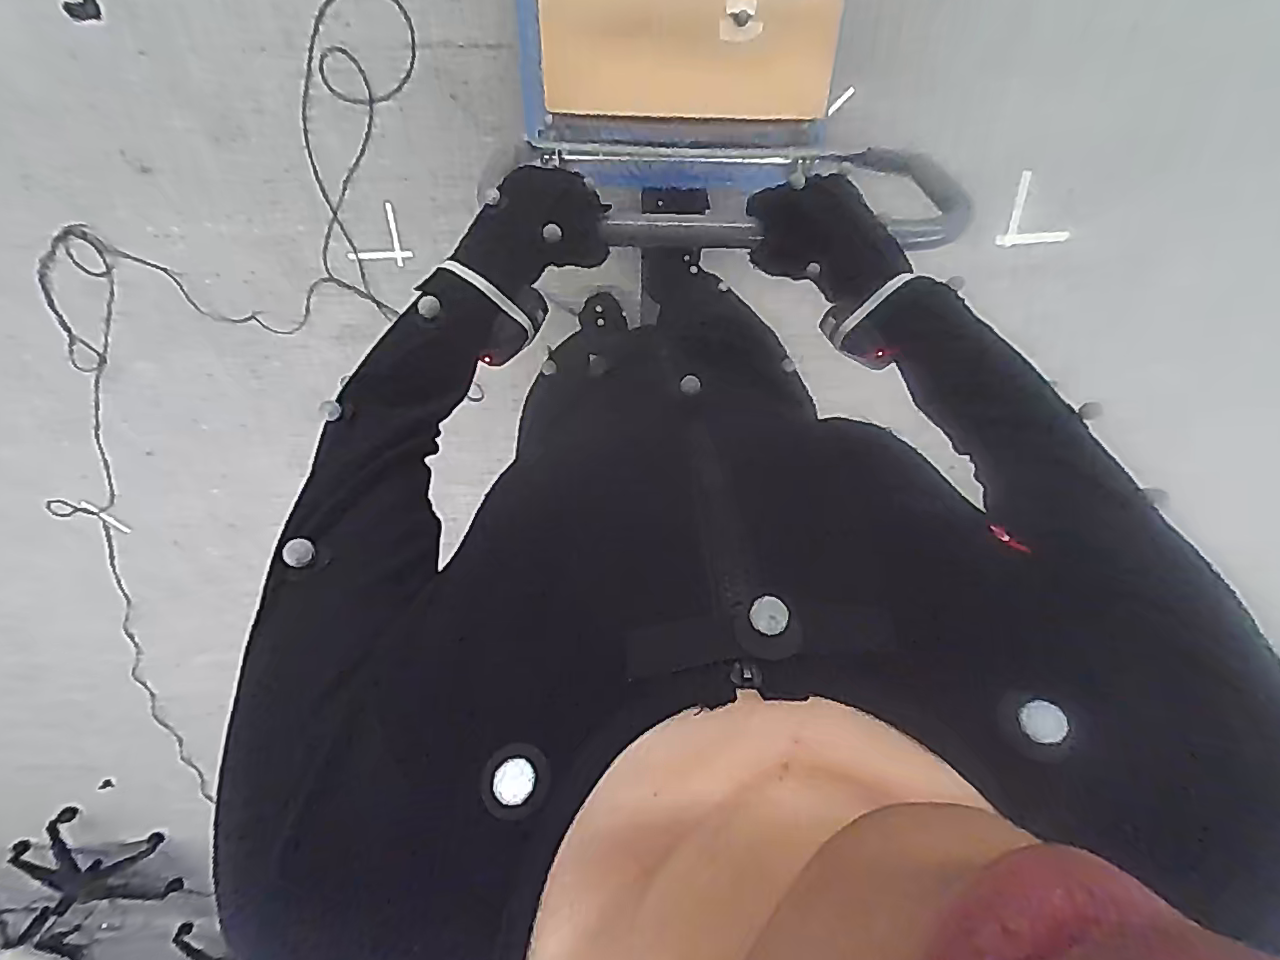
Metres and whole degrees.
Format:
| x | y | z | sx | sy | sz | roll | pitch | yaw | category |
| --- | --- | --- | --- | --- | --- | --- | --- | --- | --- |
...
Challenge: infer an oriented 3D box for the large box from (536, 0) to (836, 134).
| x | y | z | sx | sy | sz | roll | pitch | yaw | category |
| --- | --- | --- | --- | --- | --- | --- | --- | --- | --- |
| 0.055 | -0.721 | 0.828 | 0.408 | 0.320 | 0.320 | 0 | 121 | -3 | large box |
